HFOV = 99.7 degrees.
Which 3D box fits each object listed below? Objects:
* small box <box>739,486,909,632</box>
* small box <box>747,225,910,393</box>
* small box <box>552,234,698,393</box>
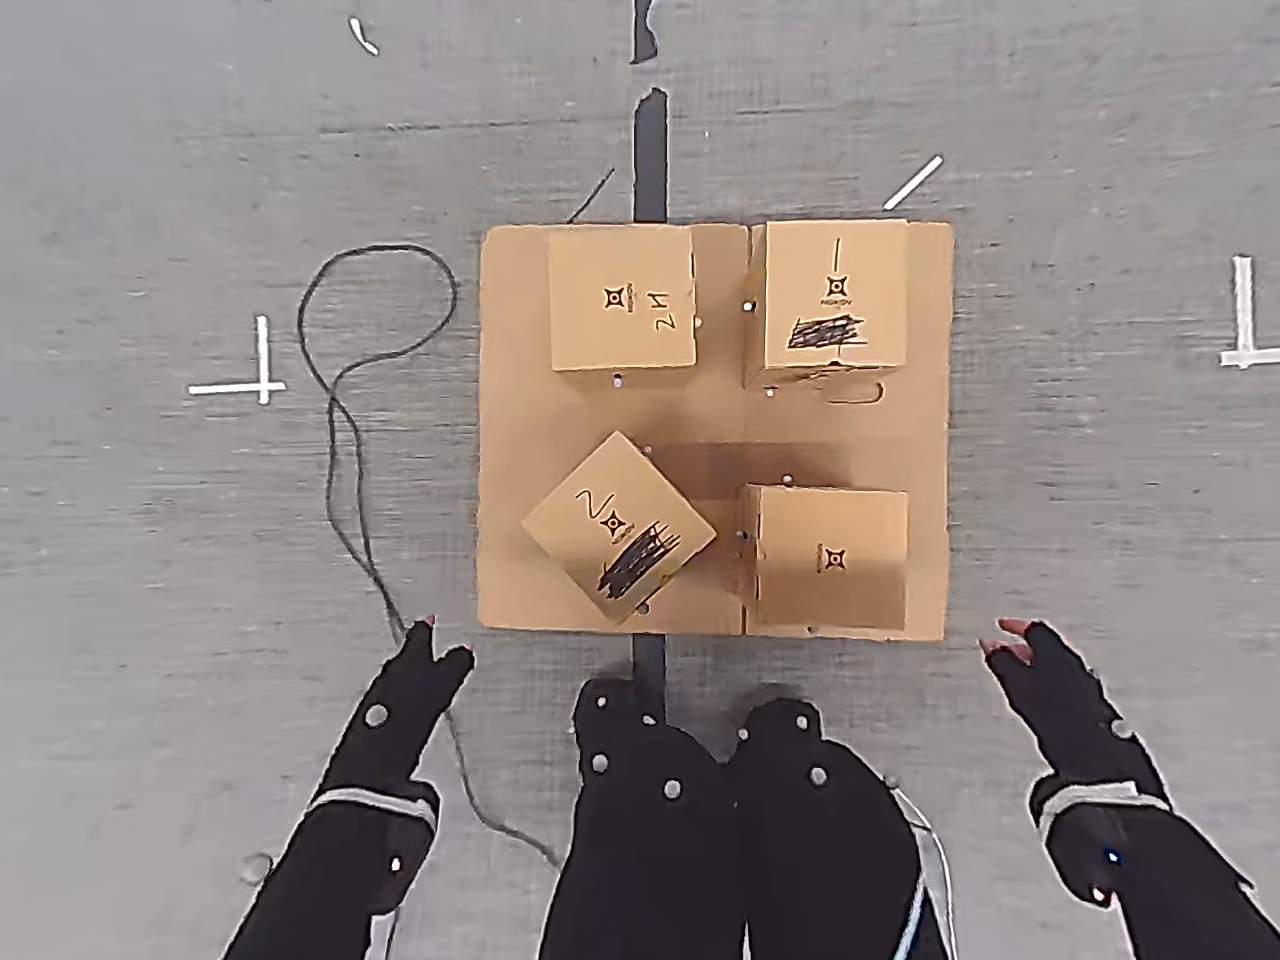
[{"bbox_3d":[0.232,0.094,0.719,0.179,0.176,0.168,1,91,5],"label":"small box"},{"bbox_3d":[0.236,-0.213,0.715,0.168,0.176,0.179,1,89,4],"label":"small box"},{"bbox_3d":[-0.013,-0.210,0.725,0.179,0.176,0.168,-1,91,3],"label":"small box"}]
